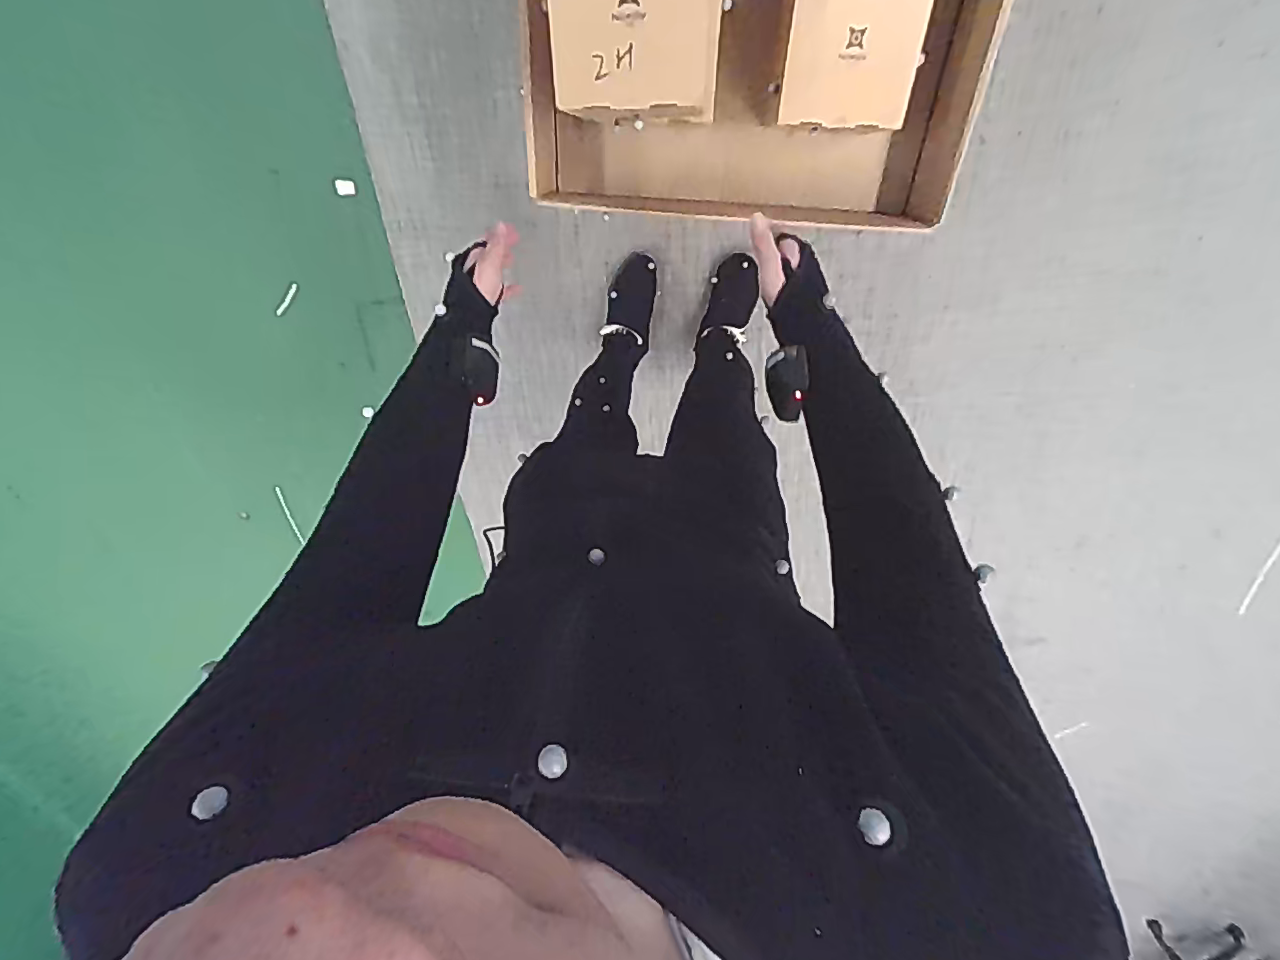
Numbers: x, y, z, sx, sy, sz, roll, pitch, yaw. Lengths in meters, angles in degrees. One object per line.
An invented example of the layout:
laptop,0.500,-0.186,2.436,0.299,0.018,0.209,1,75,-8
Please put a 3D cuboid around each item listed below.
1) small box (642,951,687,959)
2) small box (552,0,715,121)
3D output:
small box,0.083,1.796,1.894,0.168,0.176,0.179,1,121,4
small box,-0.002,-0.515,0.609,0.168,0.176,0.179,2,123,4
